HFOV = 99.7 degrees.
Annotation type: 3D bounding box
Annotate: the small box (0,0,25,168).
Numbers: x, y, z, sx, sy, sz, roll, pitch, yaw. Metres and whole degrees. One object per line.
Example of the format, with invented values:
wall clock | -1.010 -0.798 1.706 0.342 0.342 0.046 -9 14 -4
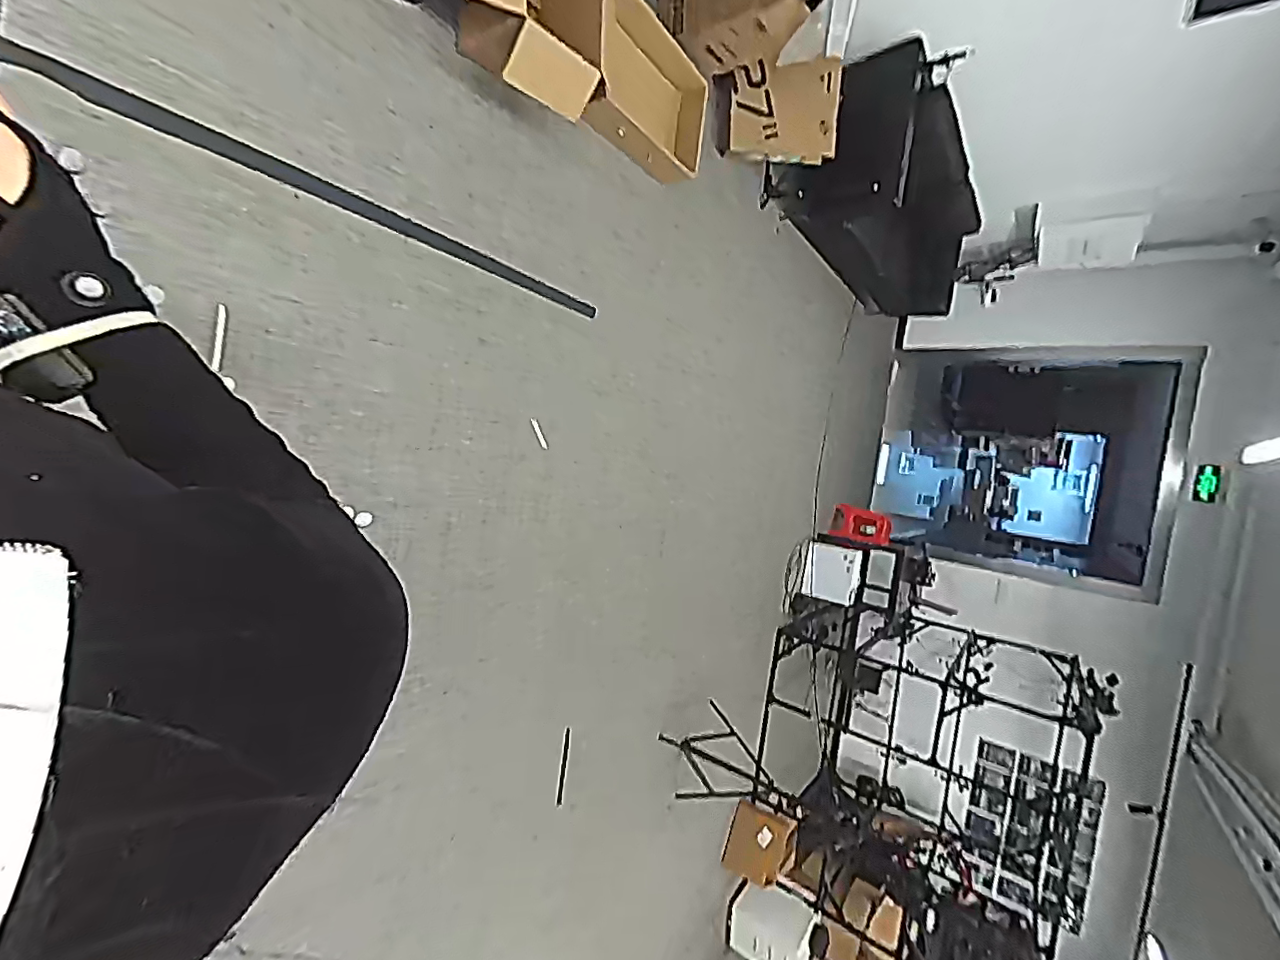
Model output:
small box | -0.404 -0.238 0.216 0.179 0.176 0.168 -16 121 -54
